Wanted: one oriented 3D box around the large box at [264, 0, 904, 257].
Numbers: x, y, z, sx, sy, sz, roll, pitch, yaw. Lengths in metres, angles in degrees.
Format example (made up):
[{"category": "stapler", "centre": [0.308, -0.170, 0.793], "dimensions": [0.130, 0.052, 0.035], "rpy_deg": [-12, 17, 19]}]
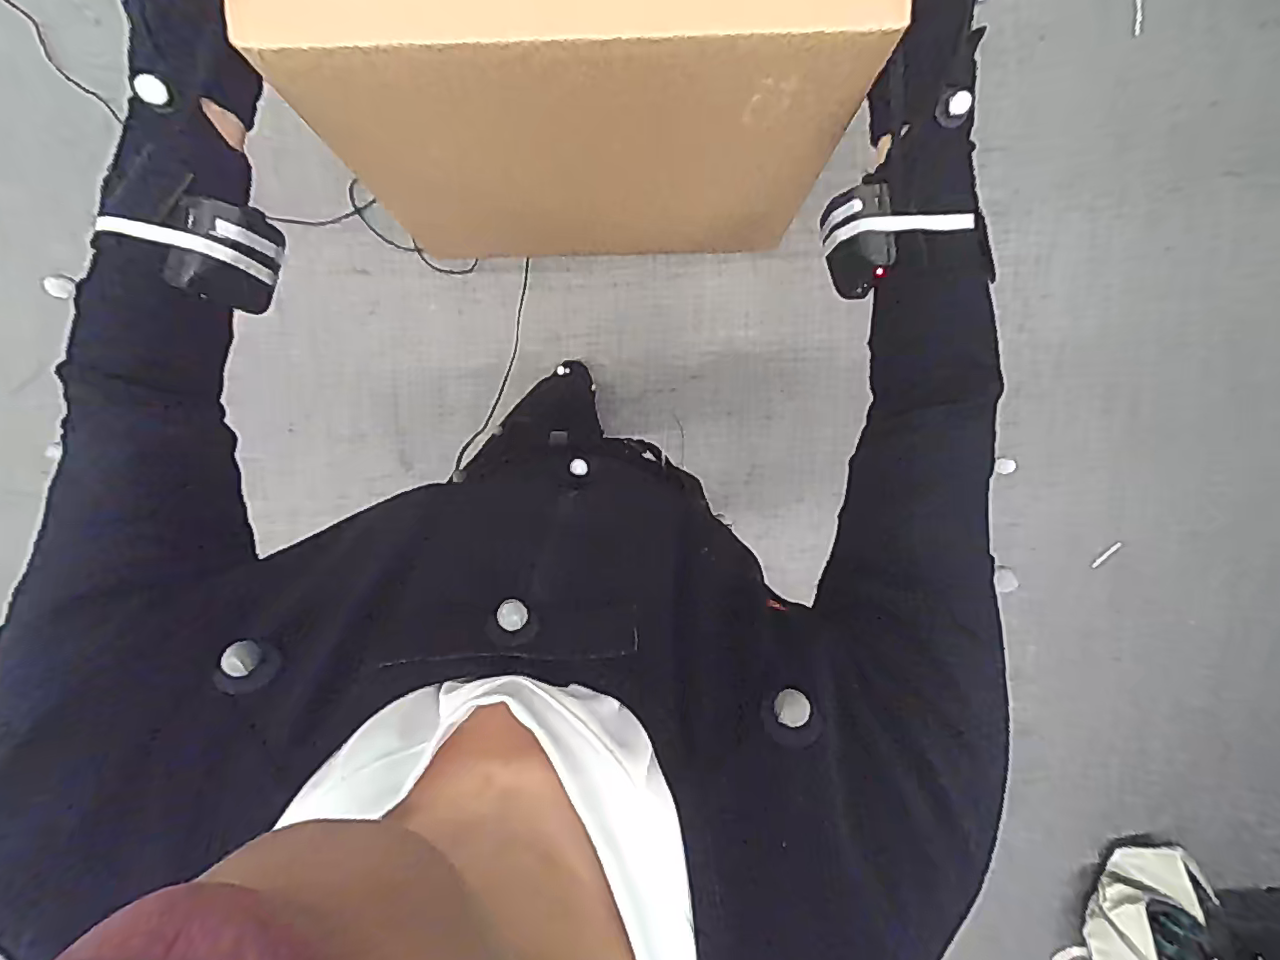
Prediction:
[{"category": "large box", "centre": [-0.043, -0.420, 0.486], "dimensions": [0.408, 0.320, 0.320], "rpy_deg": [-2, 90, -1]}]
